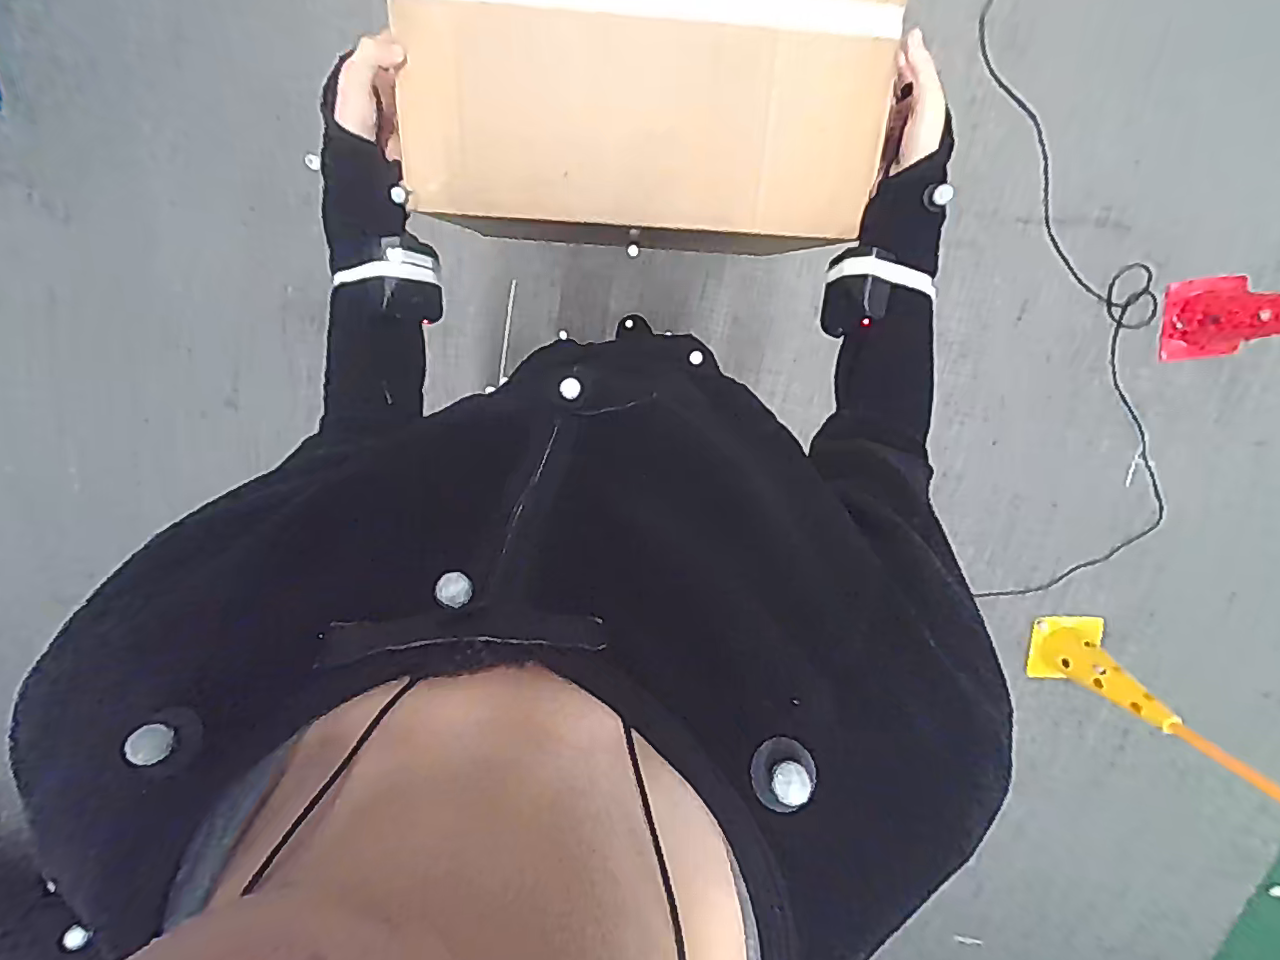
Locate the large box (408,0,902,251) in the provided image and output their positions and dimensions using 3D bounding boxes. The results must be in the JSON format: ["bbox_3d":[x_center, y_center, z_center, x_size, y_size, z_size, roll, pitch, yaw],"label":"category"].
[{"bbox_3d":[0.009,-0.422,0.576,0.408,0.320,0.320,2,109,-4],"label":"large box"}]
